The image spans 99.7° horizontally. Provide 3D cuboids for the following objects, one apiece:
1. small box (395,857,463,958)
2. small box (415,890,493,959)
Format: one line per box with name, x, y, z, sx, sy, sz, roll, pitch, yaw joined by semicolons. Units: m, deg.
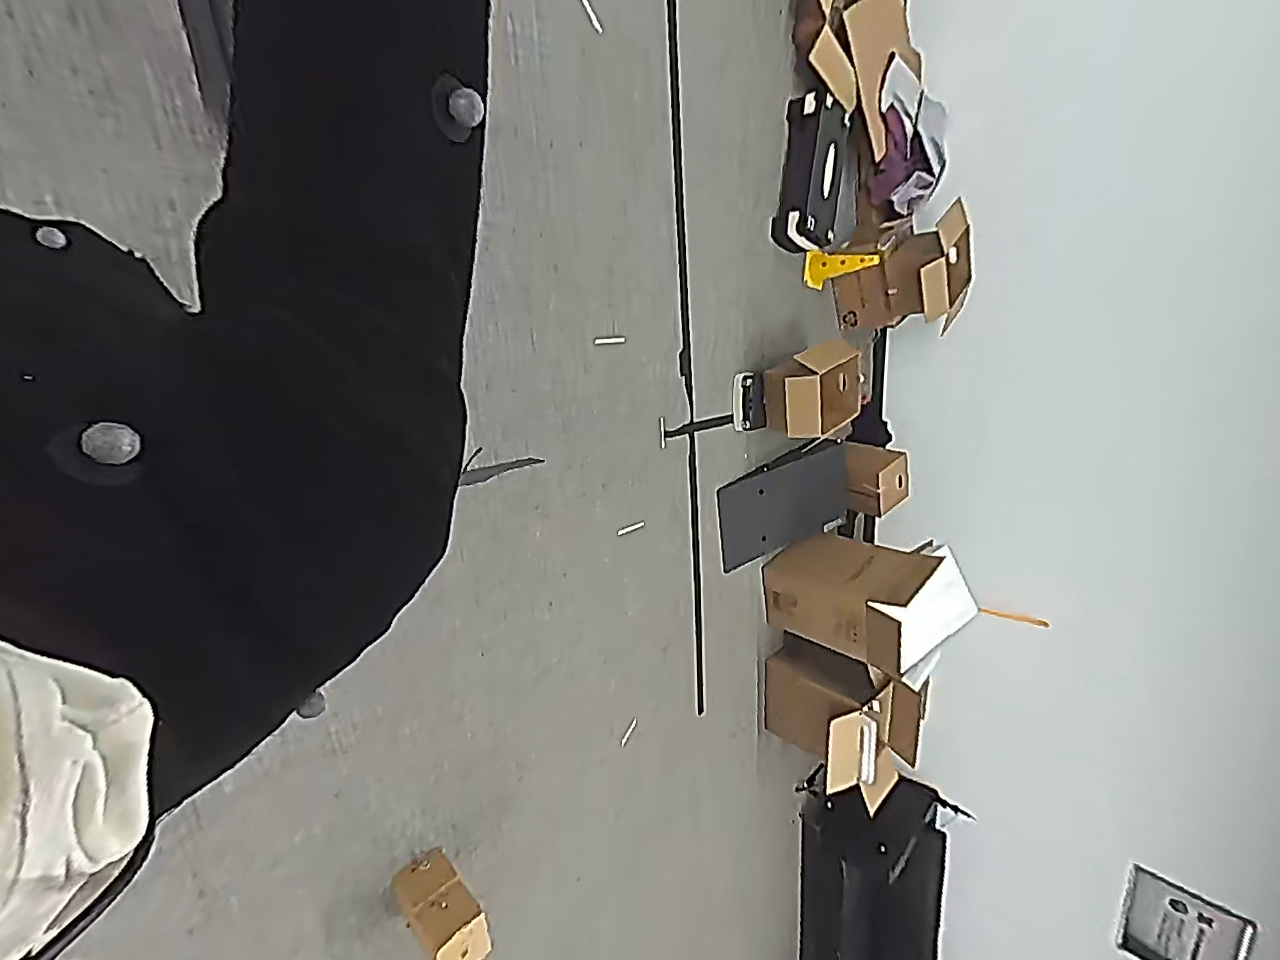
small box;-0.709;1.442;1.836;0.168;0.176;0.179;-19;111;-43
small box;-0.593;1.474;1.724;0.168;0.176;0.179;-19;111;-43
